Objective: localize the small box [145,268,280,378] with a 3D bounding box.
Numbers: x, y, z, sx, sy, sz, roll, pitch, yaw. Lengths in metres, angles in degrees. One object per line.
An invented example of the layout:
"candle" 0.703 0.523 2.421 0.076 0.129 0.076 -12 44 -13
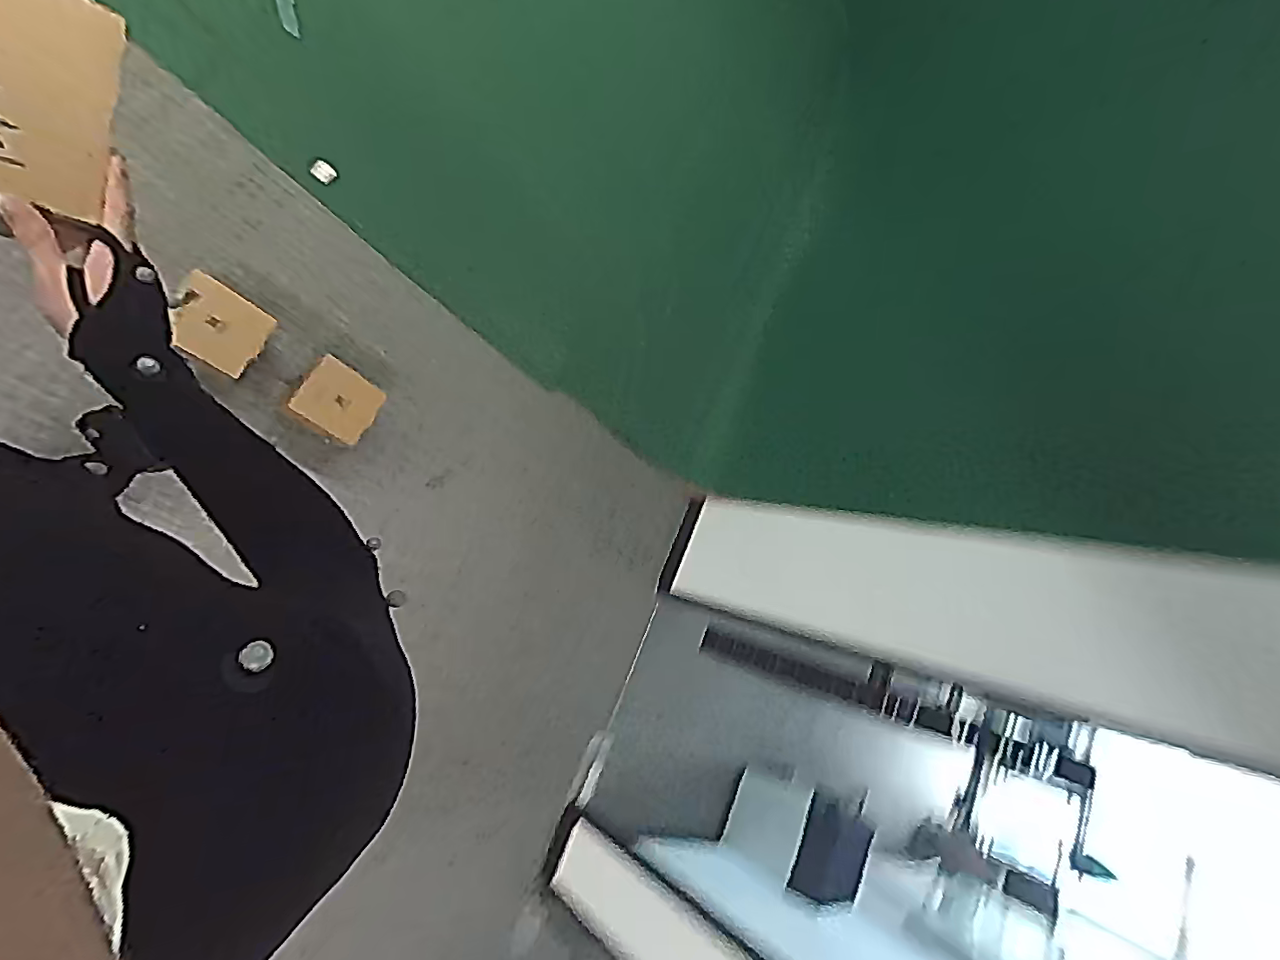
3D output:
"small box" -0.975 -0.350 1.233 0.179 0.176 0.168 41 67 -40
